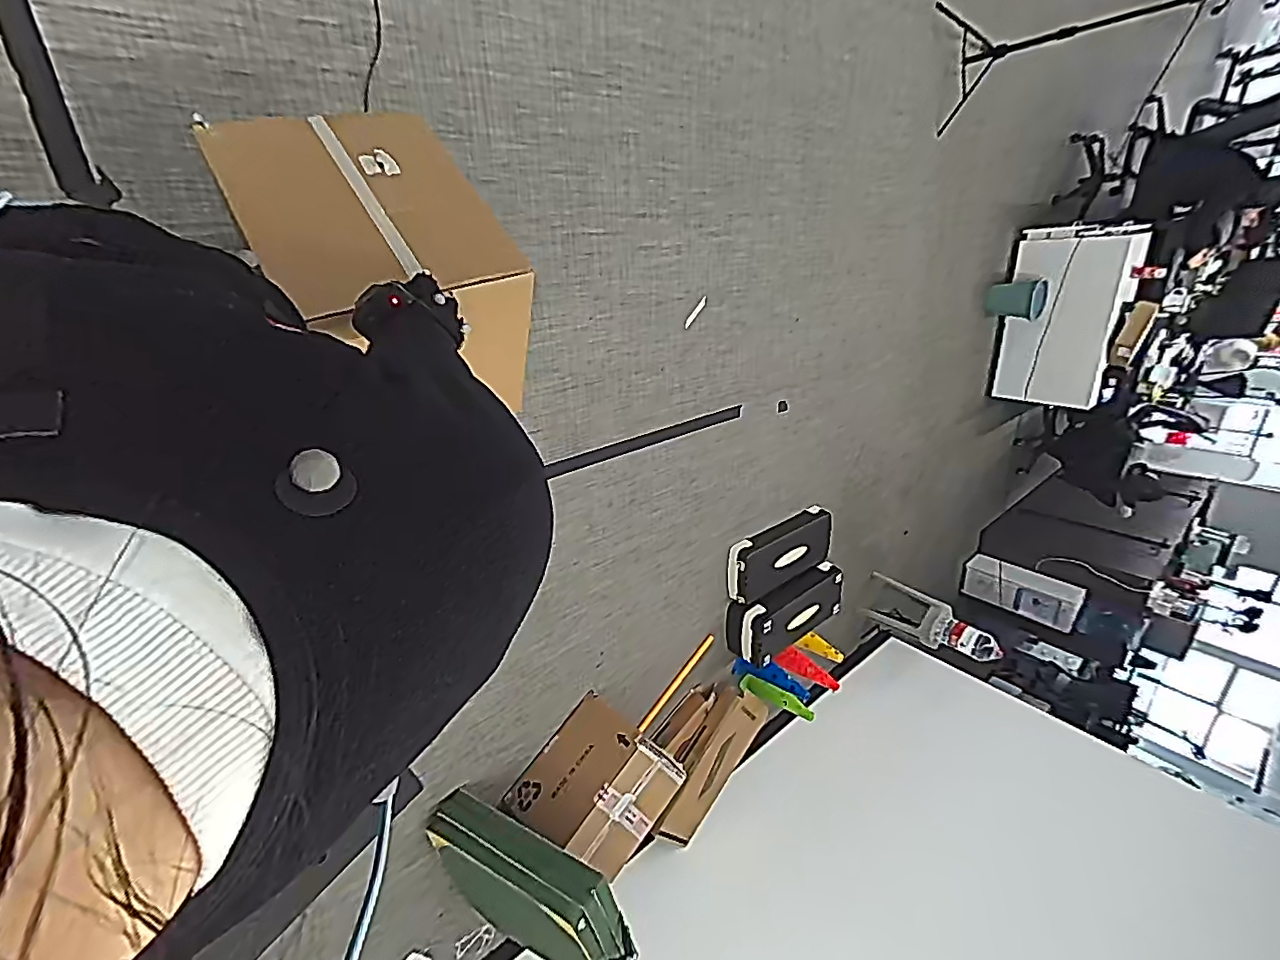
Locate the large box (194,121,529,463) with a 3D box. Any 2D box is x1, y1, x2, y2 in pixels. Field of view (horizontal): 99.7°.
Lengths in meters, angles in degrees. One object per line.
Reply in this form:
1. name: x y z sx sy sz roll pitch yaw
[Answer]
1. large box: -0.422 -0.306 0.882 0.320 0.408 0.320 -26 158 -30
